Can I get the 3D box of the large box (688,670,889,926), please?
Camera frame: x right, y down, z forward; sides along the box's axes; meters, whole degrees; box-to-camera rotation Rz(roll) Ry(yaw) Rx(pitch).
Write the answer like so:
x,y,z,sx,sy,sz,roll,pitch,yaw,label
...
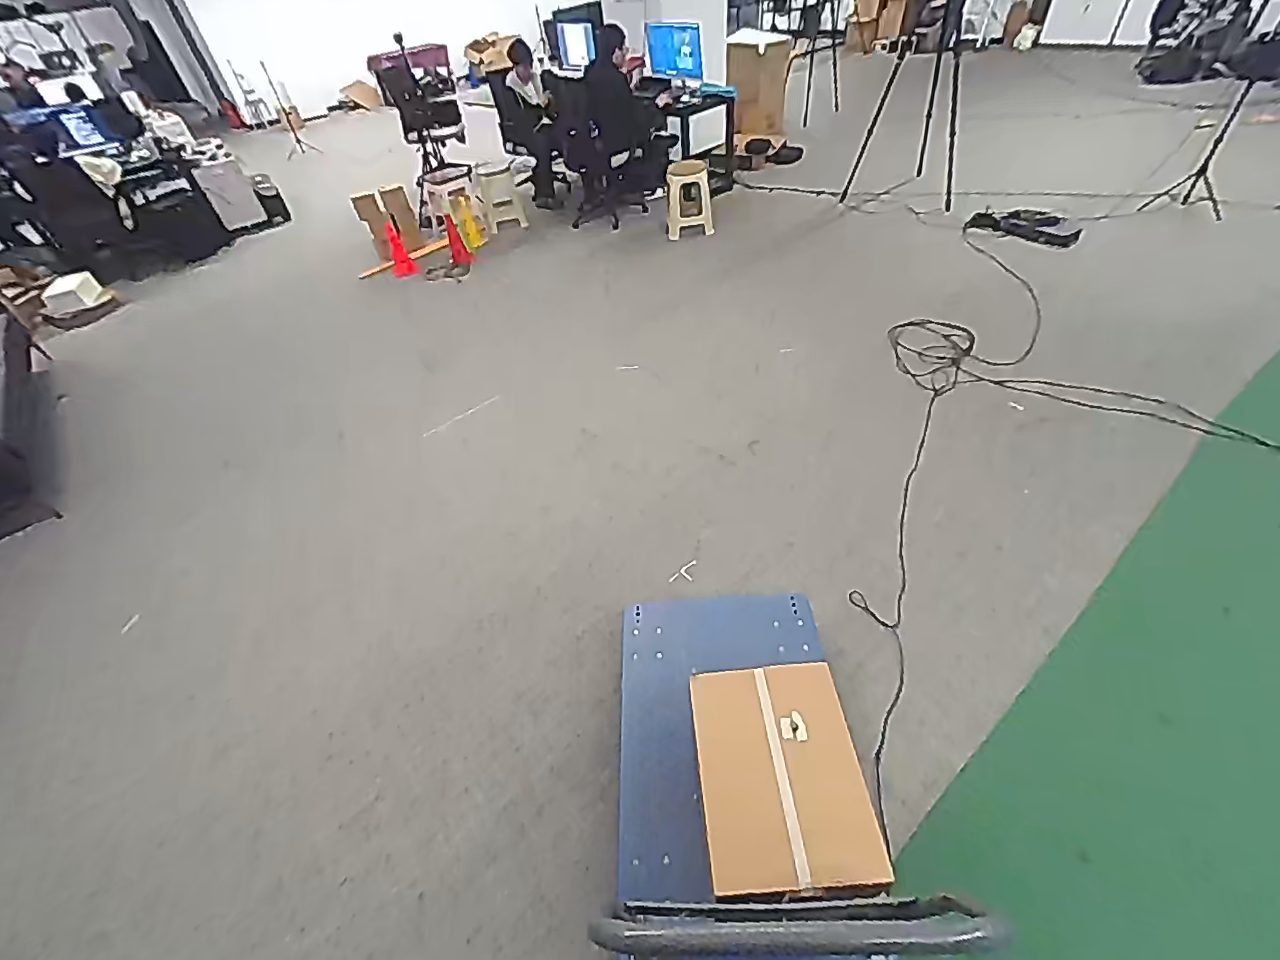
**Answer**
x,y,z,sx,sy,sz,roll,pitch,yaw,label
0.289,0.690,1.186,0.320,0.320,0.408,-6,43,2,large box
